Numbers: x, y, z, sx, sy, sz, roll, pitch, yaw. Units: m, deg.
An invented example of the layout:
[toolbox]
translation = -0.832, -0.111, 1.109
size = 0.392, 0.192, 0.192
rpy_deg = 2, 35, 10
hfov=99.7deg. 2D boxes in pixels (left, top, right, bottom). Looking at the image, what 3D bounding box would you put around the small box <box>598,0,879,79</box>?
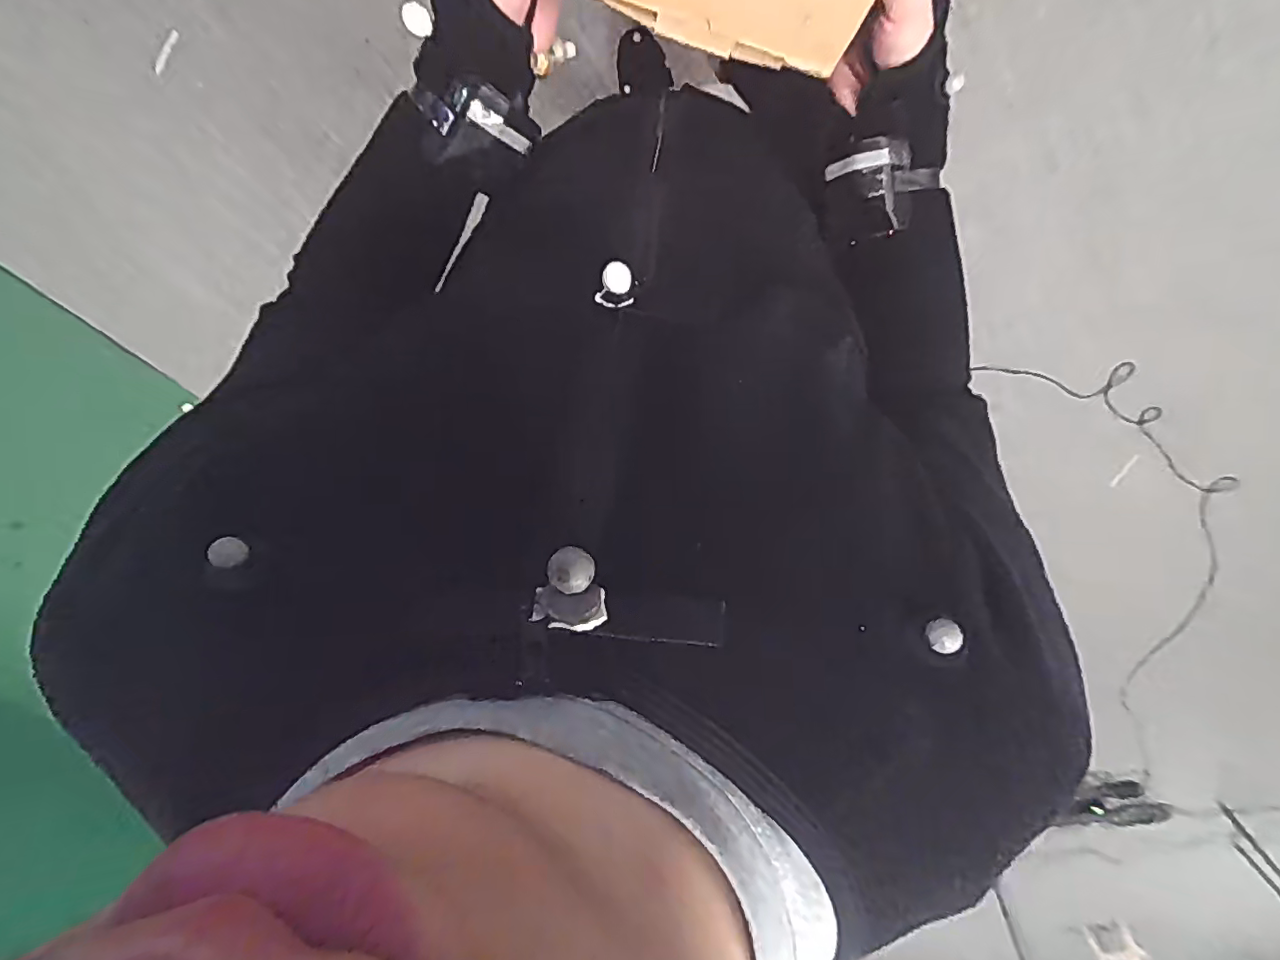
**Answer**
[small box]
translation = 0.055, -0.343, 0.246
size = 0.168, 0.176, 0.179
rpy_deg = 5, 154, -16
